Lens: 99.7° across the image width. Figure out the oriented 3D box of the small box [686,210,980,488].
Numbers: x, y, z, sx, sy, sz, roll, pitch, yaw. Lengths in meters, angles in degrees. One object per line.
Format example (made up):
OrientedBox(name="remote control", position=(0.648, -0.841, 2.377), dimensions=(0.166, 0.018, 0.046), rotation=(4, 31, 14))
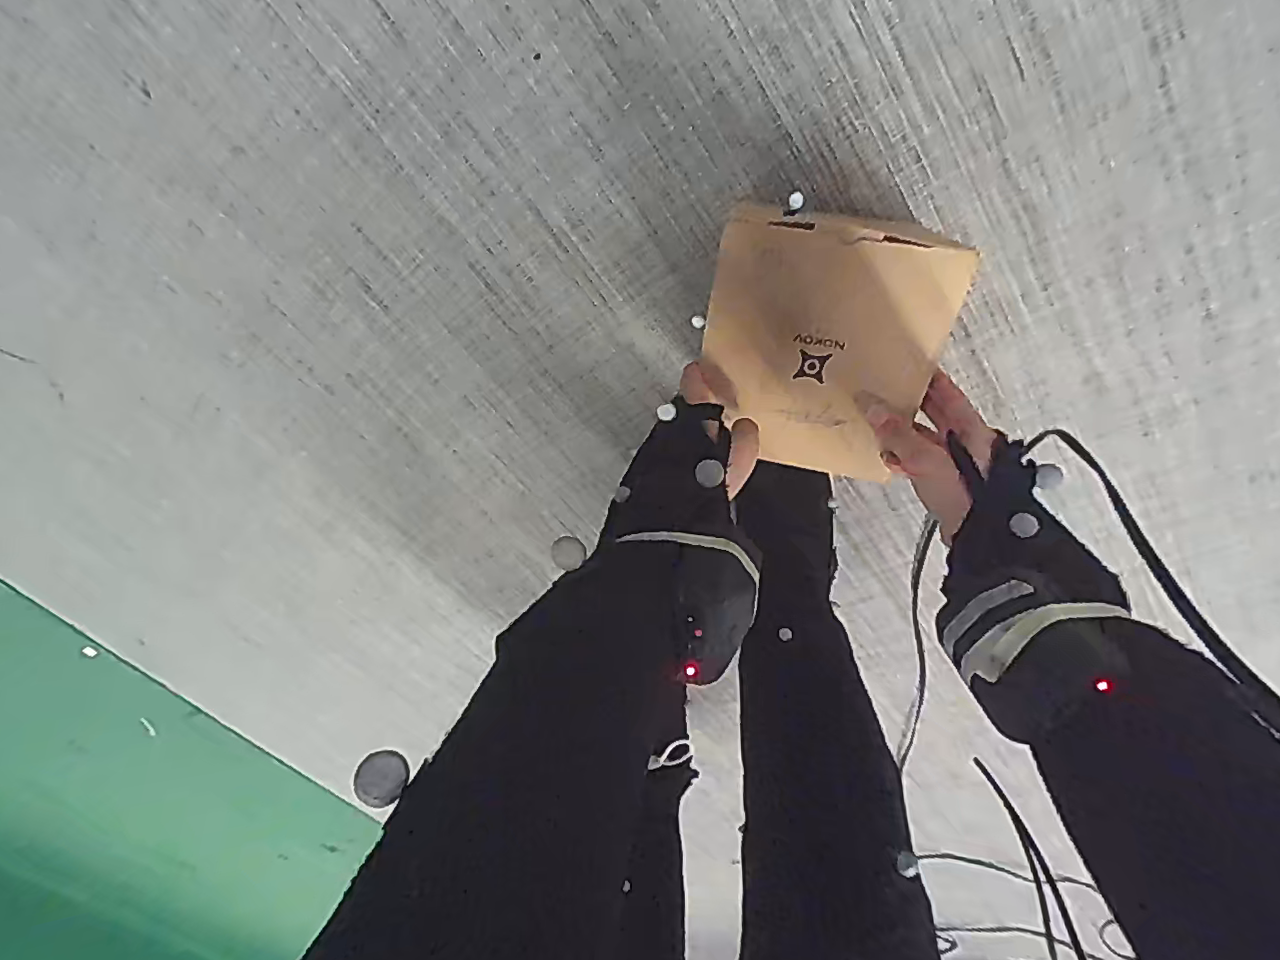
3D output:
OrientedBox(name="small box", position=(0.142, -0.121, 0.454), dimensions=(0.168, 0.176, 0.179), rotation=(12, 121, 9))
